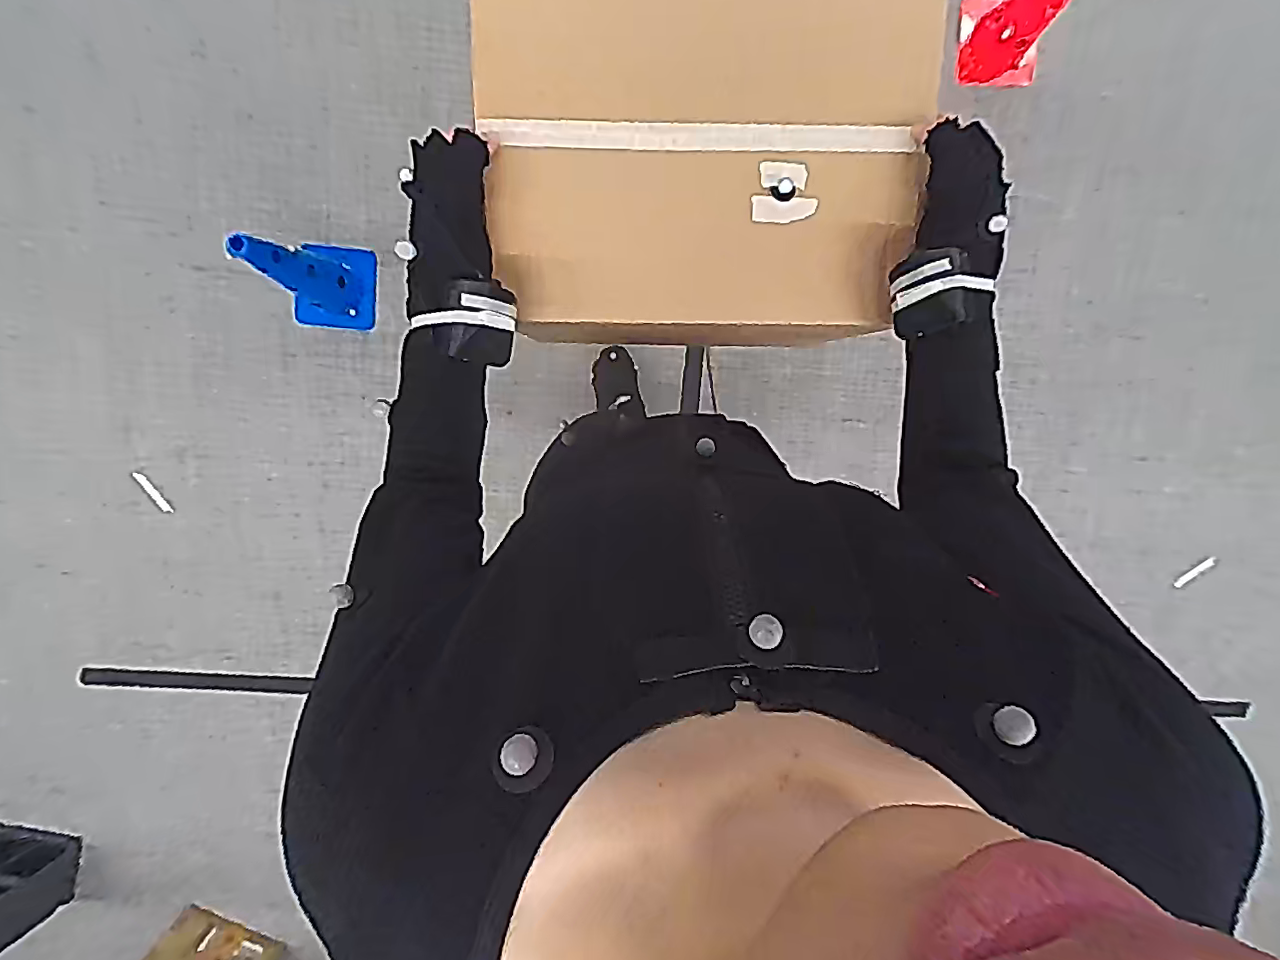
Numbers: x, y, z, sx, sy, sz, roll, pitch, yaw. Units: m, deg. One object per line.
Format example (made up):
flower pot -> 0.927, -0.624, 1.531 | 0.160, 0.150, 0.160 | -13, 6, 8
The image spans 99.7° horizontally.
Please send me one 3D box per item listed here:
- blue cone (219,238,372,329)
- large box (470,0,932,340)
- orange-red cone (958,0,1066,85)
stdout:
blue cone -> -0.778, -0.466, 1.214 | 0.192, 0.380, 0.193 | 7, 97, -2
large box -> 0.048, -0.336, 0.624 | 0.408, 0.320, 0.320 | 0, 101, -3
orange-red cone -> 0.902, -1.081, 1.181 | 0.198, 0.360, 0.199 | 1, 96, -3
